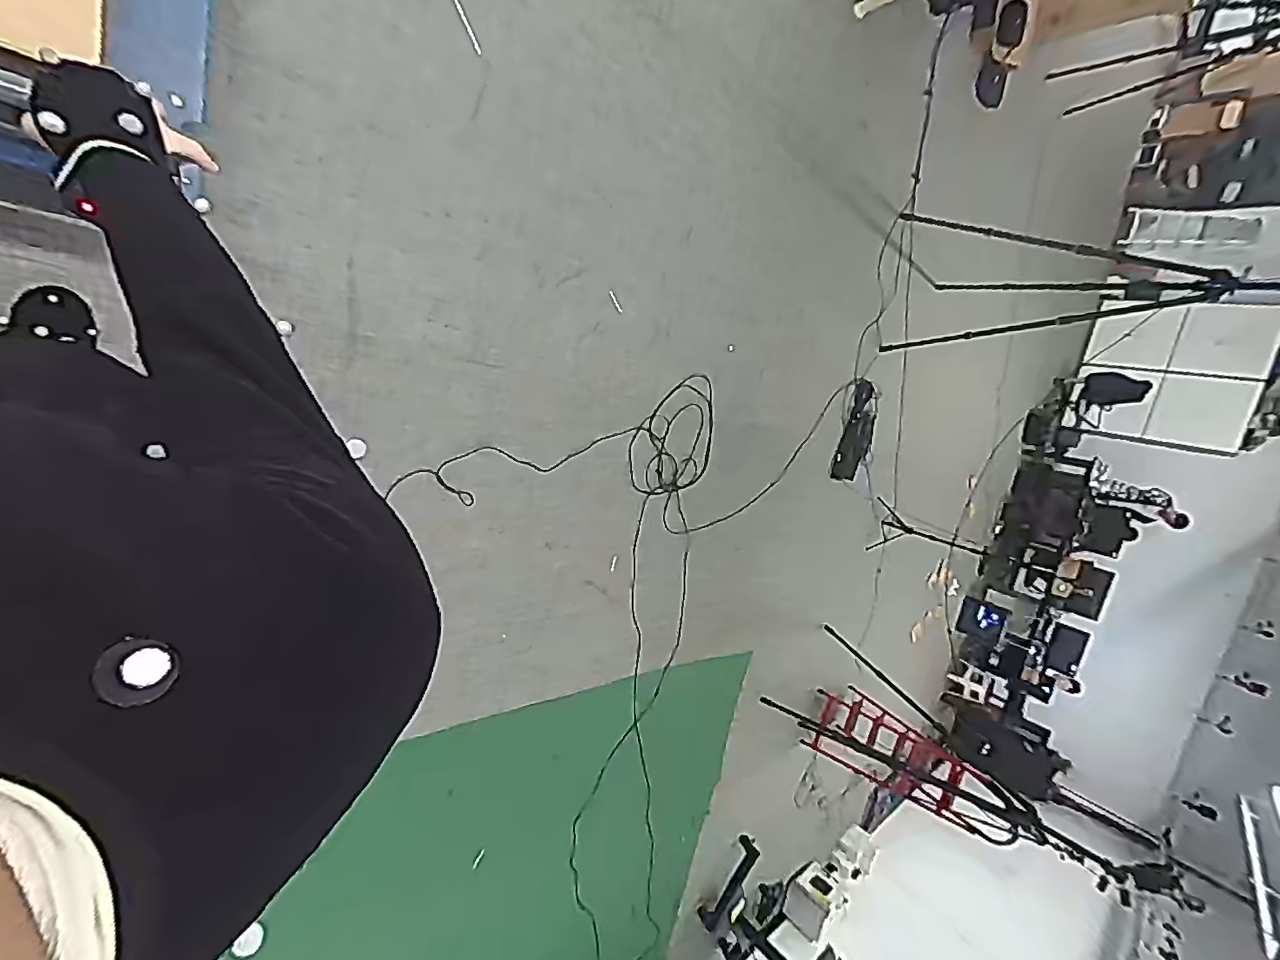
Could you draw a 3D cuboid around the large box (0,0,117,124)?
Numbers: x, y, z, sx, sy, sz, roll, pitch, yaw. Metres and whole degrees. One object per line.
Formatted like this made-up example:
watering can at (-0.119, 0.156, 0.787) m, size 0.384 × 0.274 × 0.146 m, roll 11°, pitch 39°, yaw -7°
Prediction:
large box at (-0.915, -0.780, 0.714) m, size 0.320 × 0.320 × 0.408 m, roll 1°, pitch 103°, yaw -44°
